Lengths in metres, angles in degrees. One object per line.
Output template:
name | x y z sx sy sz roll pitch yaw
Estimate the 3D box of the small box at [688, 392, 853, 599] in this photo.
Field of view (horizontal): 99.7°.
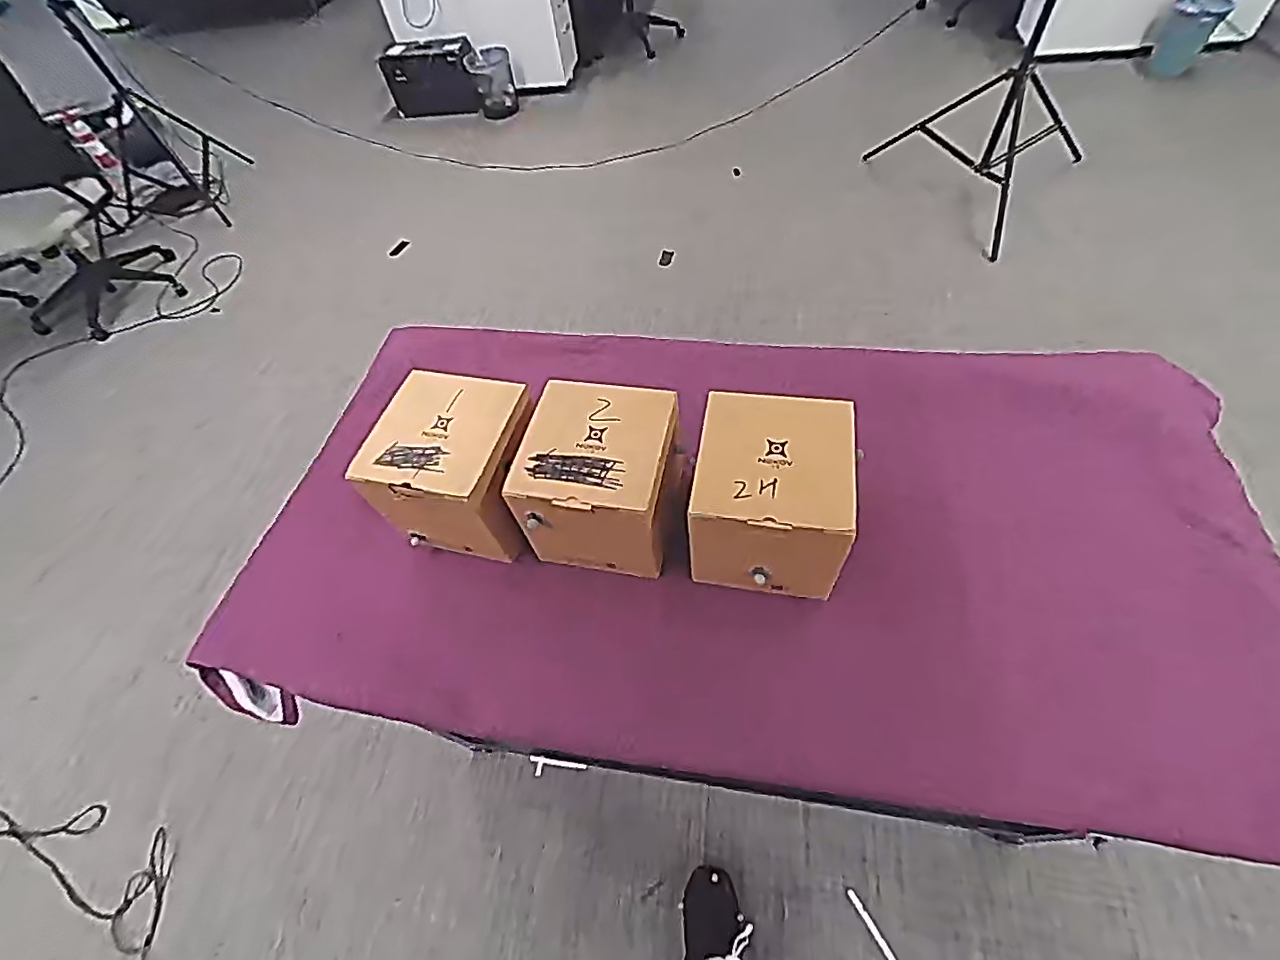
small box | 0.153 0.020 0.648 0.168 0.176 0.179 6 56 12
